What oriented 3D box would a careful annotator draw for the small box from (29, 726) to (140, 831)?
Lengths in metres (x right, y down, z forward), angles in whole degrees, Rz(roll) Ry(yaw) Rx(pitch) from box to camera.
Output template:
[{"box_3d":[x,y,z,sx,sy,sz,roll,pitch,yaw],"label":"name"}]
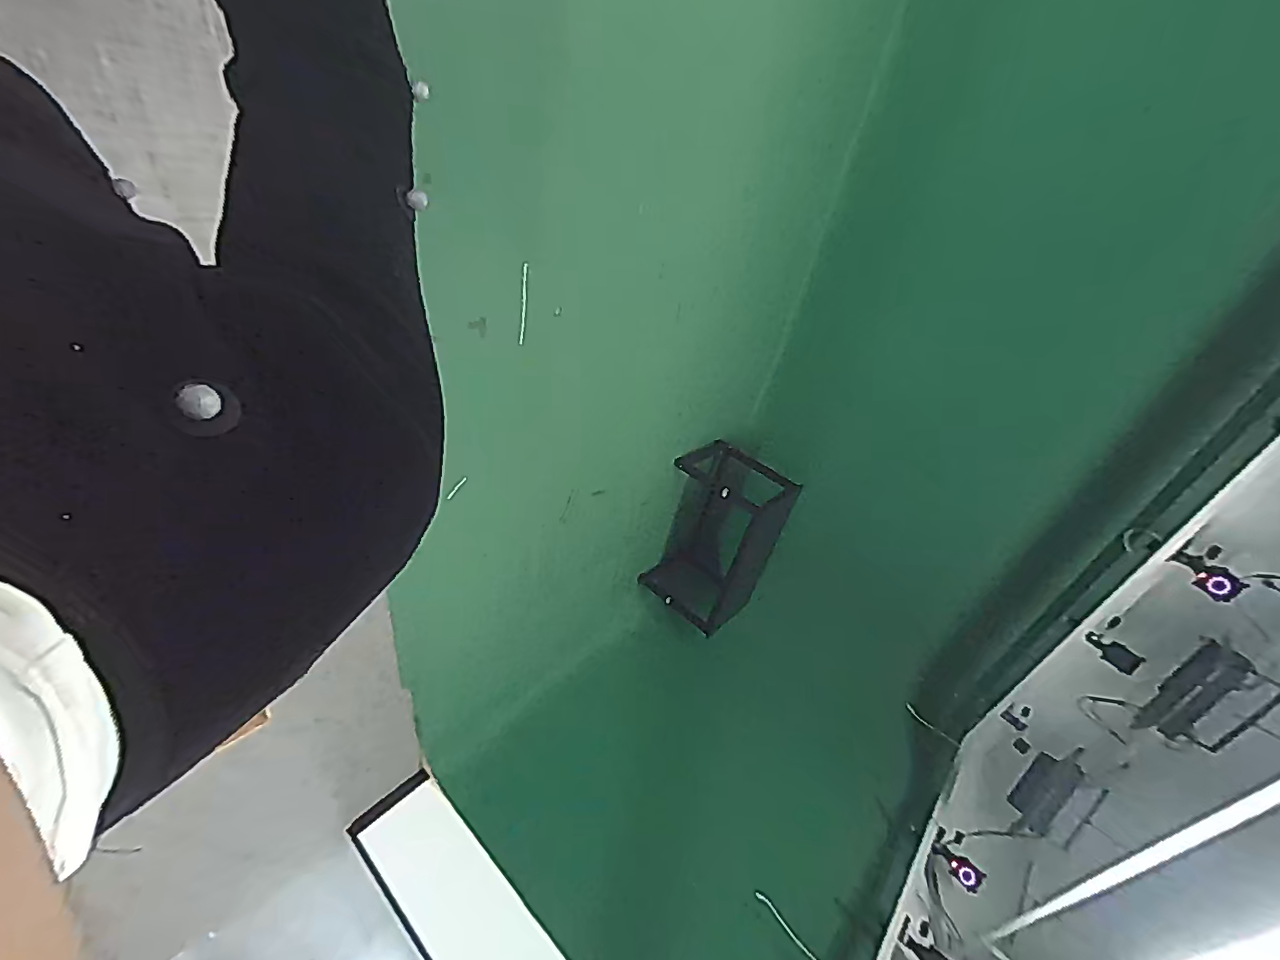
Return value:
[{"box_3d":[-1.636,0.872,1.591,0.179,0.176,0.168,-31,143,-39],"label":"small box"}]
